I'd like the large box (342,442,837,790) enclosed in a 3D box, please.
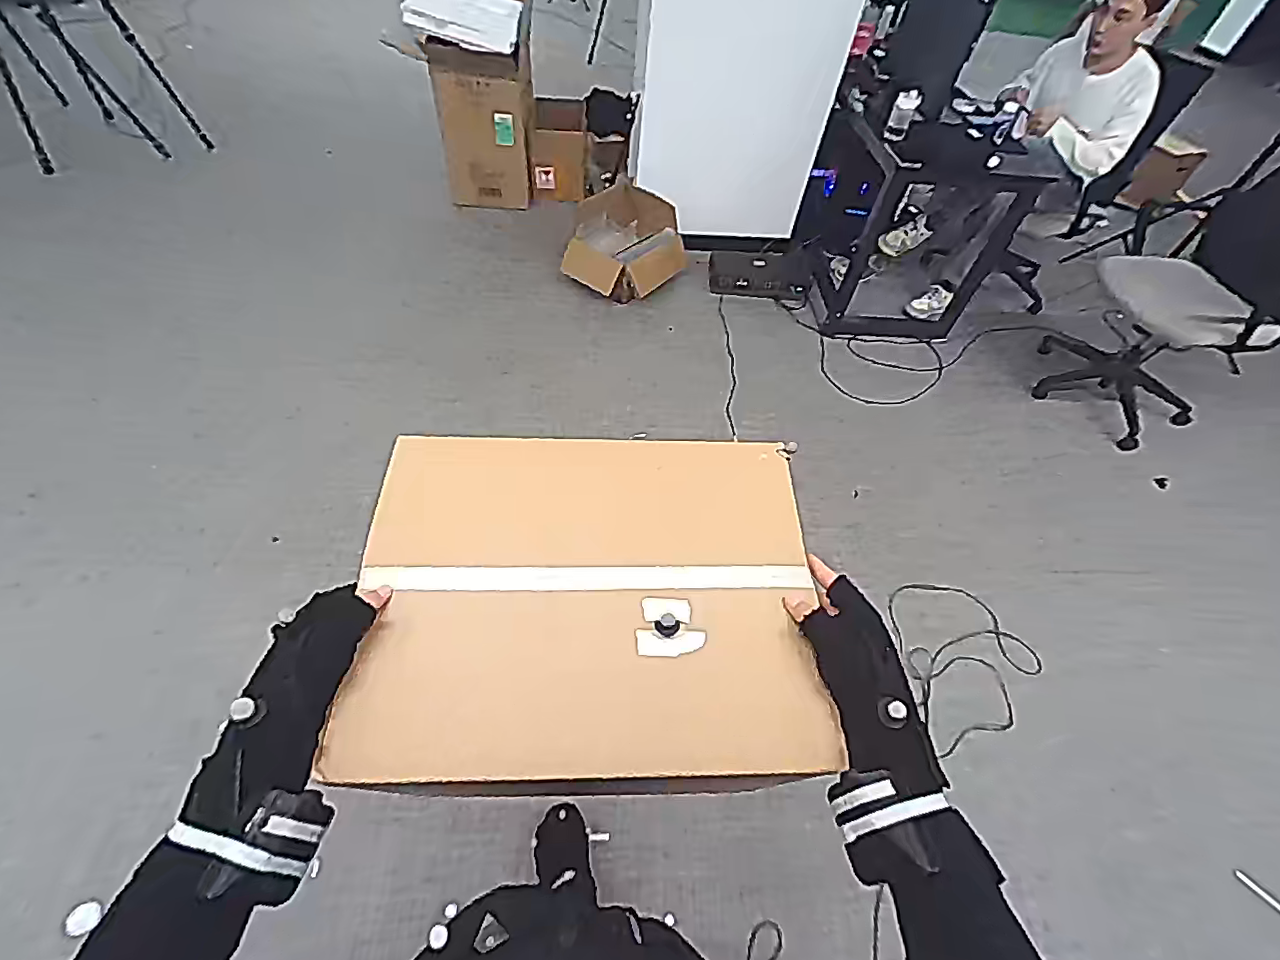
[{"bbox_3d":[-0.050,0.171,0.632,0.408,0.320,0.320,1,58,-4],"label":"large box"}]
